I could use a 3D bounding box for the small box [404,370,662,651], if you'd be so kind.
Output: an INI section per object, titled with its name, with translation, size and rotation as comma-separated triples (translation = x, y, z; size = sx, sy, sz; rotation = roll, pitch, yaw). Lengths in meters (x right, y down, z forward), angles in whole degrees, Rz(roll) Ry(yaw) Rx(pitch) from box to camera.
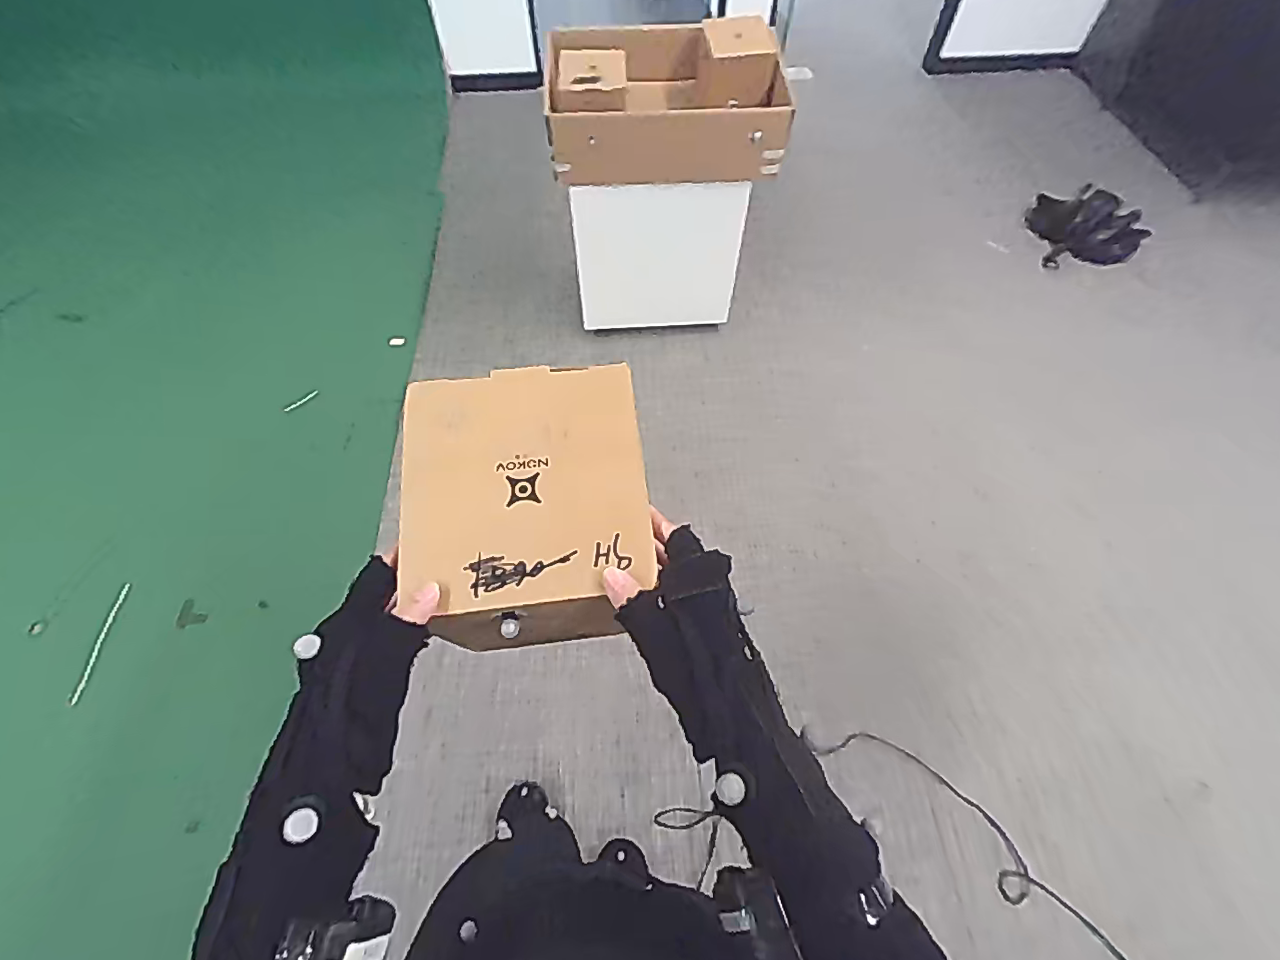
[small box]
translation = -0.077, 0.033, 0.450
size = 0.168, 0.176, 0.179
rotation = -6, 65, -3
